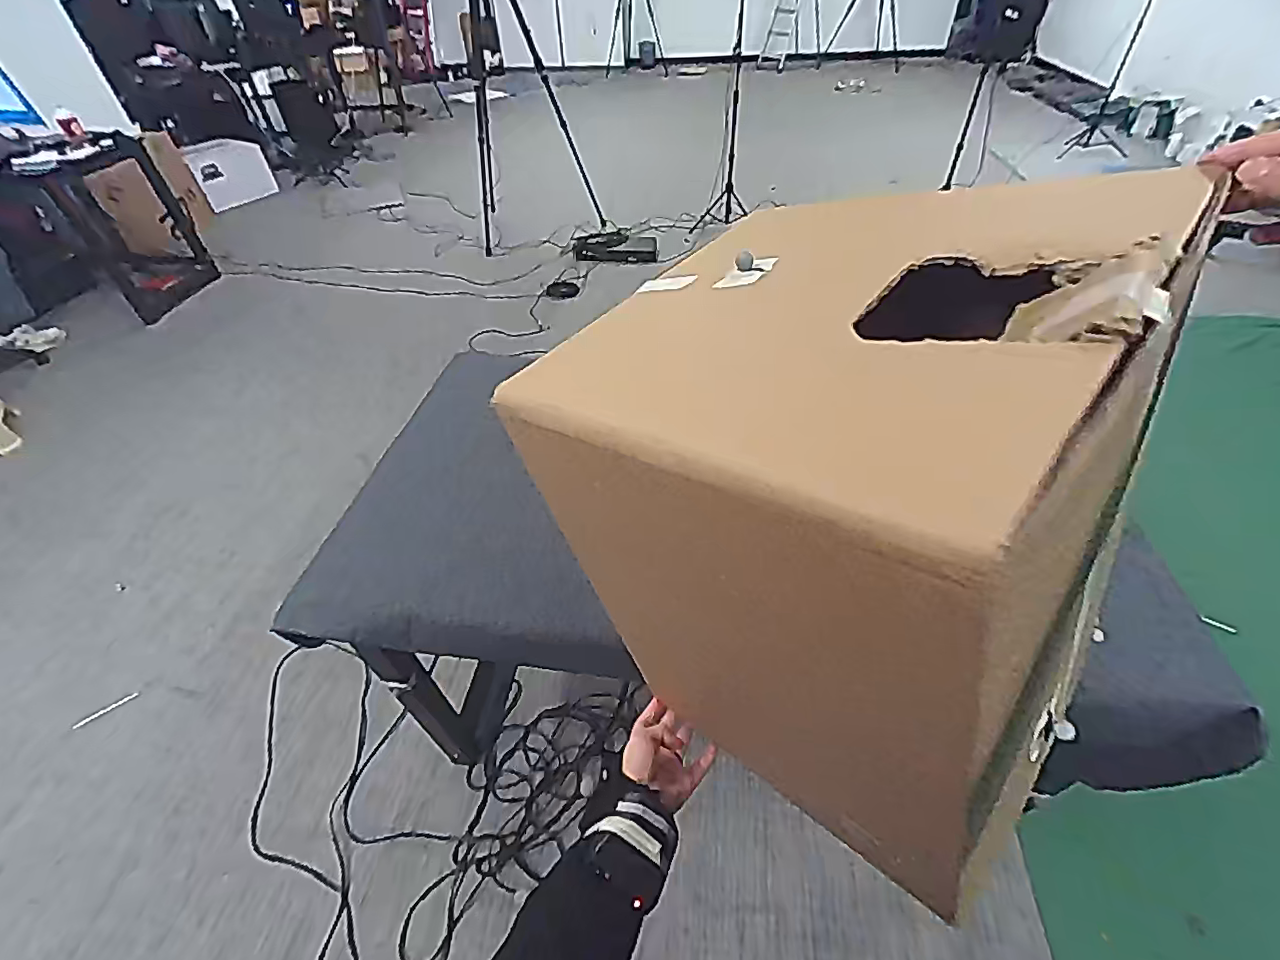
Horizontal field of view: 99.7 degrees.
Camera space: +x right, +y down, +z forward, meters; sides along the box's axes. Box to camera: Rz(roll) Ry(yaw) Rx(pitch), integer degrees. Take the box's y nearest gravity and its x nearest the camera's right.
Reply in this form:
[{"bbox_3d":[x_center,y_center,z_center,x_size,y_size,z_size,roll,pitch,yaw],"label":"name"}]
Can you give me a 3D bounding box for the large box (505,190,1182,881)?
[{"bbox_3d":[0.161,0.032,0.458,0.320,0.408,0.320,22,55,42],"label":"large box"}]
